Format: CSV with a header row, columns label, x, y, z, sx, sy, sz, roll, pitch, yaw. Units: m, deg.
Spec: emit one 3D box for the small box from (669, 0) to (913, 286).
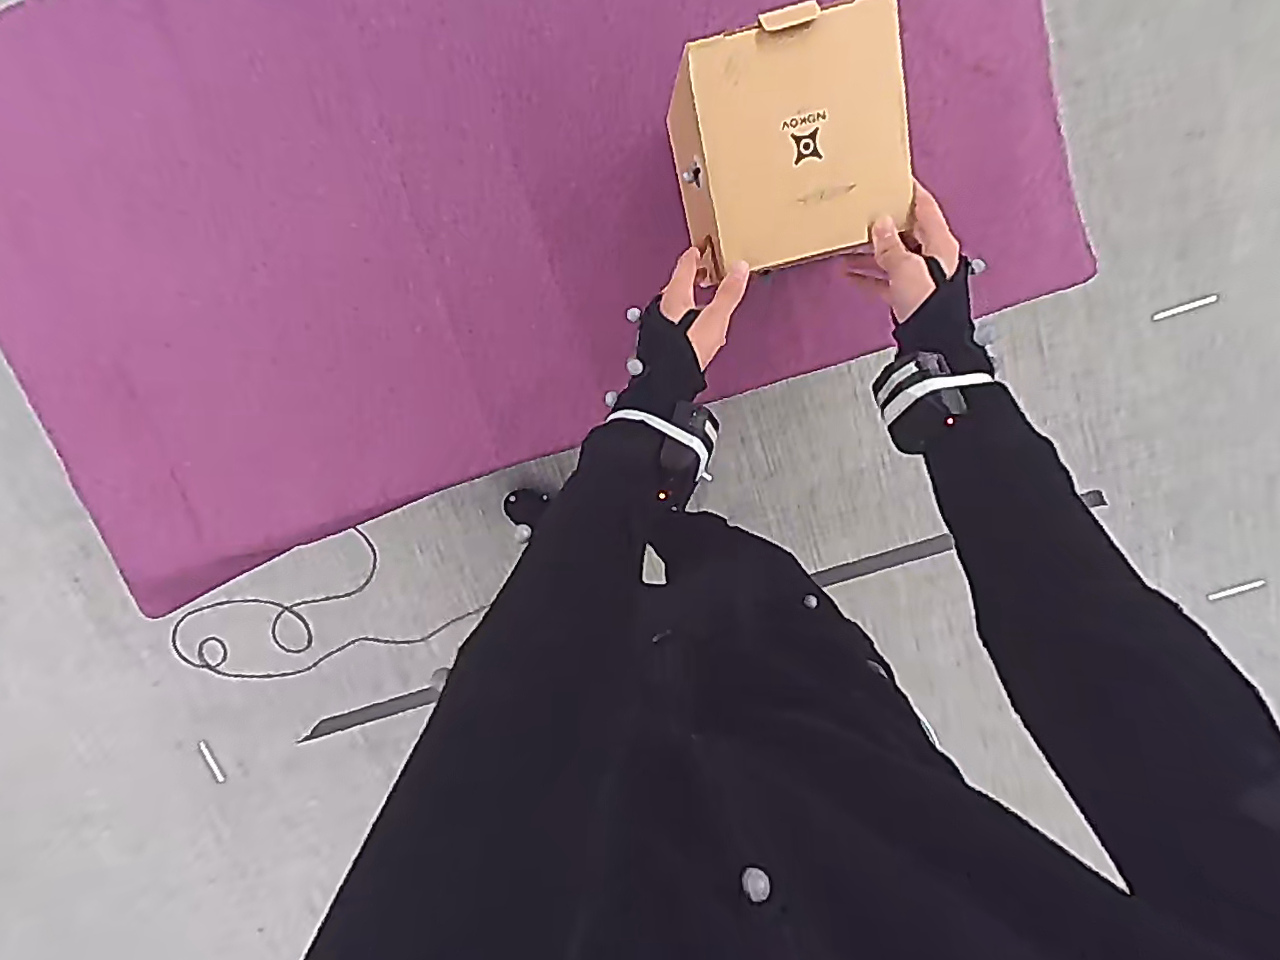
label,x,y,z,sx,sy,sz,roll,pitch,yaw
small box,0.126,-0.293,0.504,0.168,0.176,0.179,-13,106,2
